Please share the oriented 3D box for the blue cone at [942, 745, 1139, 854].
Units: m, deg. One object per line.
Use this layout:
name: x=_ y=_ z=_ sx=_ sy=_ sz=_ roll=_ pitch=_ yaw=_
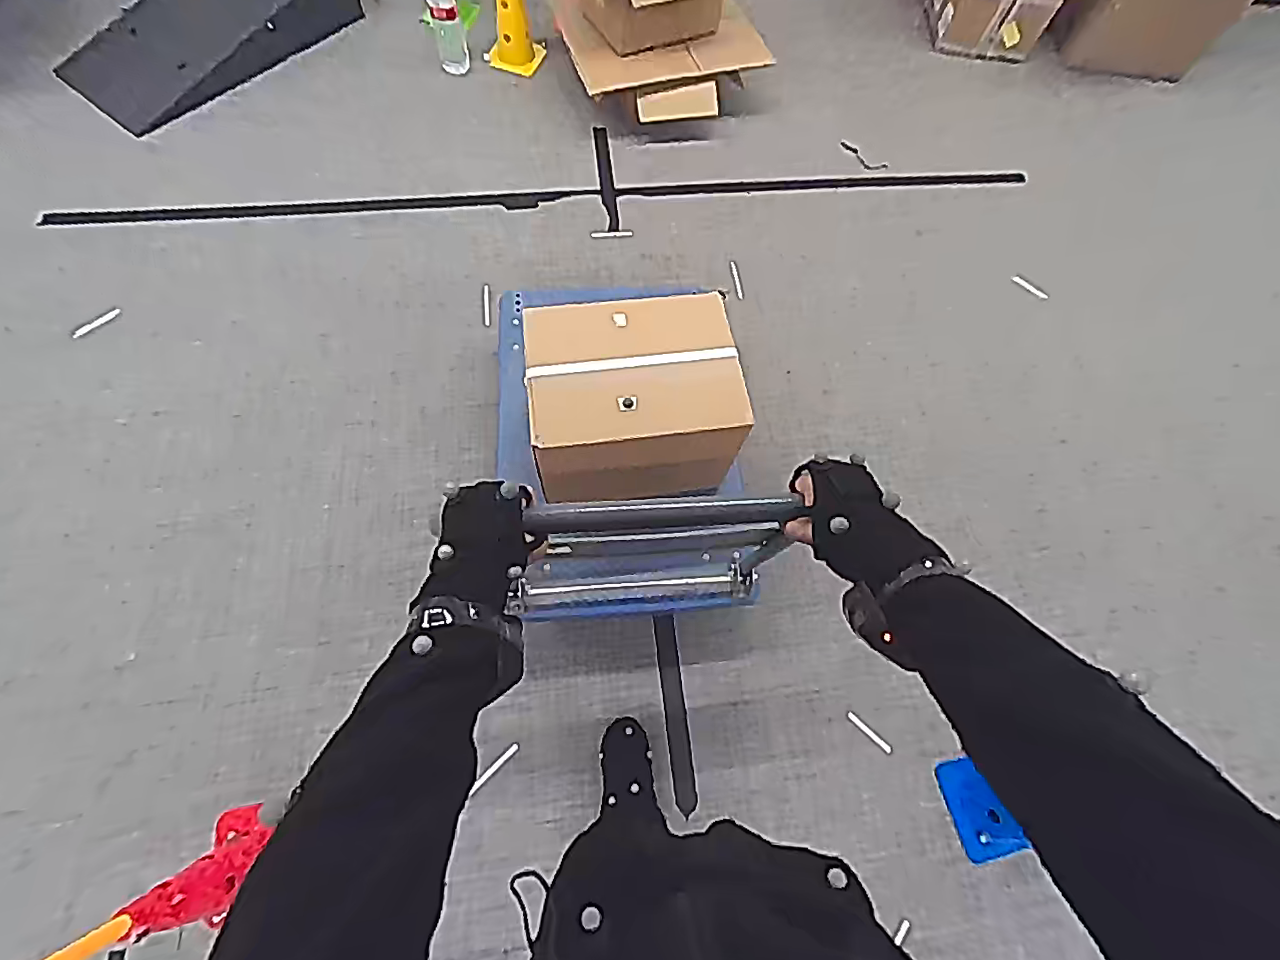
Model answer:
blue cone: x=0.804 y=0.650 z=1.064 sx=0.193 sy=0.380 sz=0.192 roll=-9 pitch=67 yaw=-8
